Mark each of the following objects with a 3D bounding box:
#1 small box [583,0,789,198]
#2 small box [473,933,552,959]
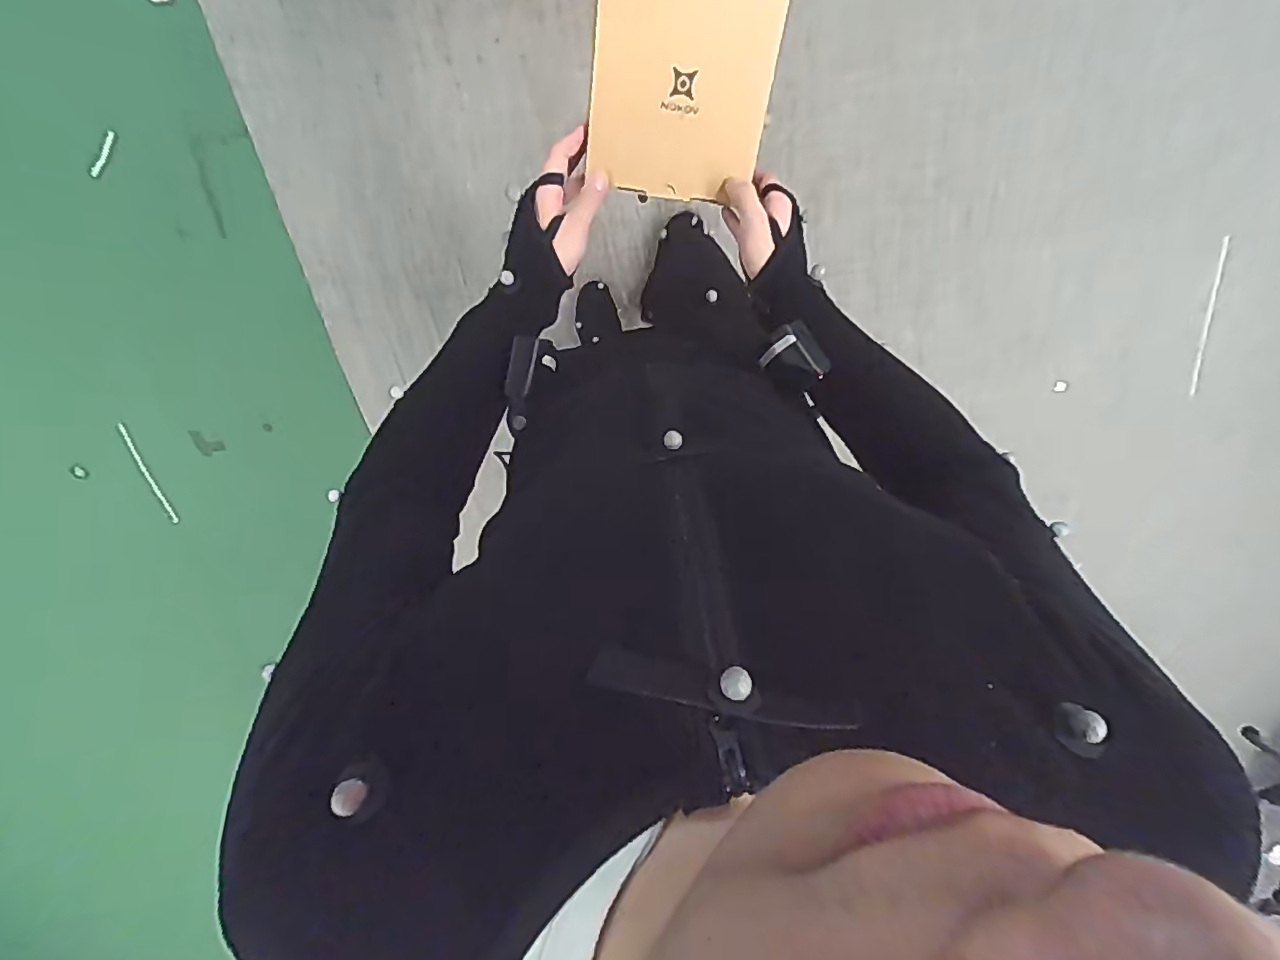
[{"bbox_3d":[0.031,-0.401,0.552,0.168,0.176,0.179,3,121,-9],"label":"small box"},{"bbox_3d":[-0.304,1.232,1.289,0.168,0.176,0.179,-13,114,-1],"label":"small box"}]
